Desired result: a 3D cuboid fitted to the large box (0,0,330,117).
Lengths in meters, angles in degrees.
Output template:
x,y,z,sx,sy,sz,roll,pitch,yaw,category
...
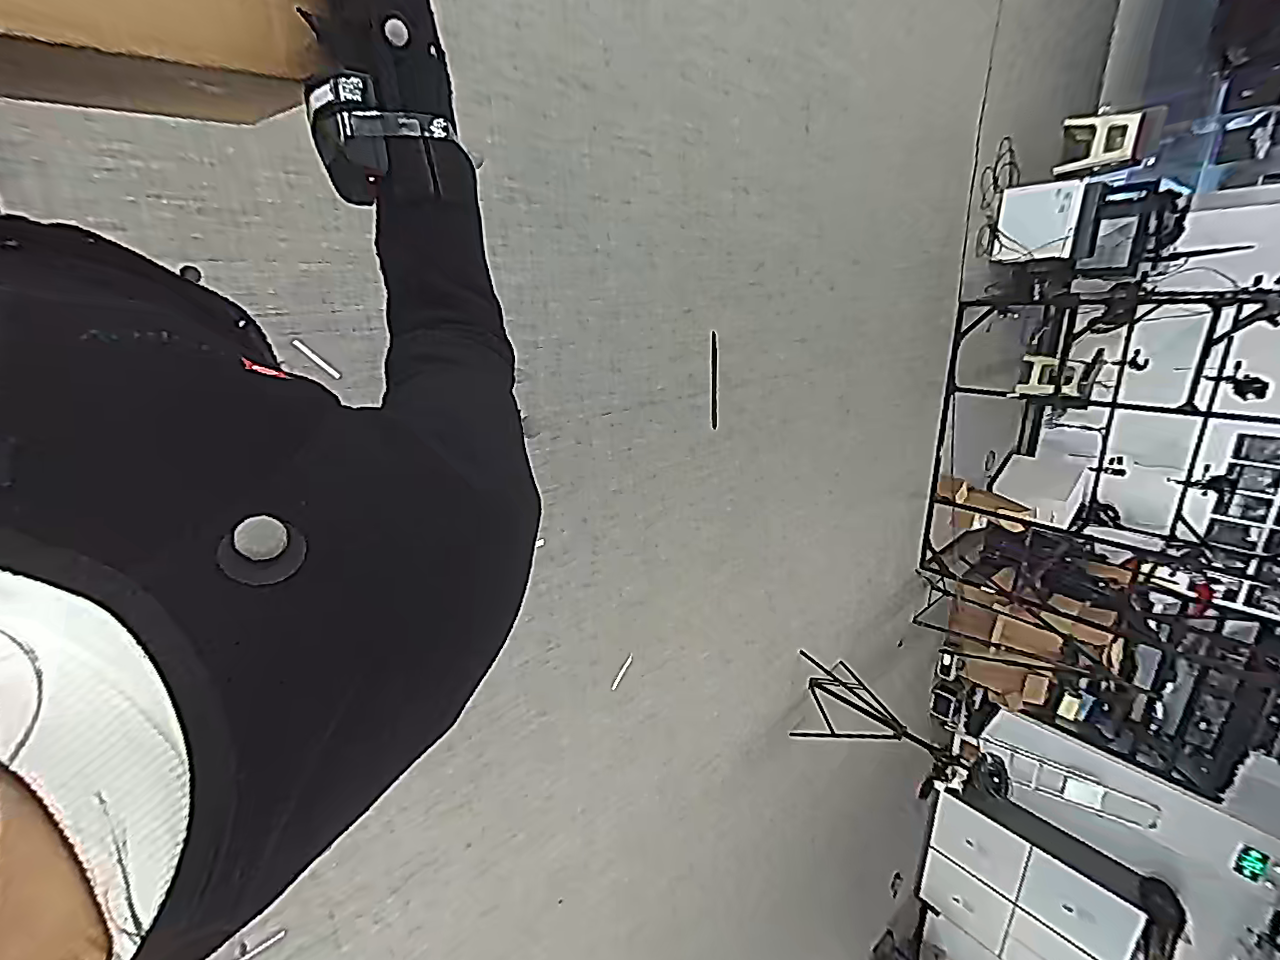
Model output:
x,y,z,sx,sy,sz,roll,pitch,yaw,category
-0.451,-0.400,0.274,0.408,0.320,0.320,-21,126,-38,large box
